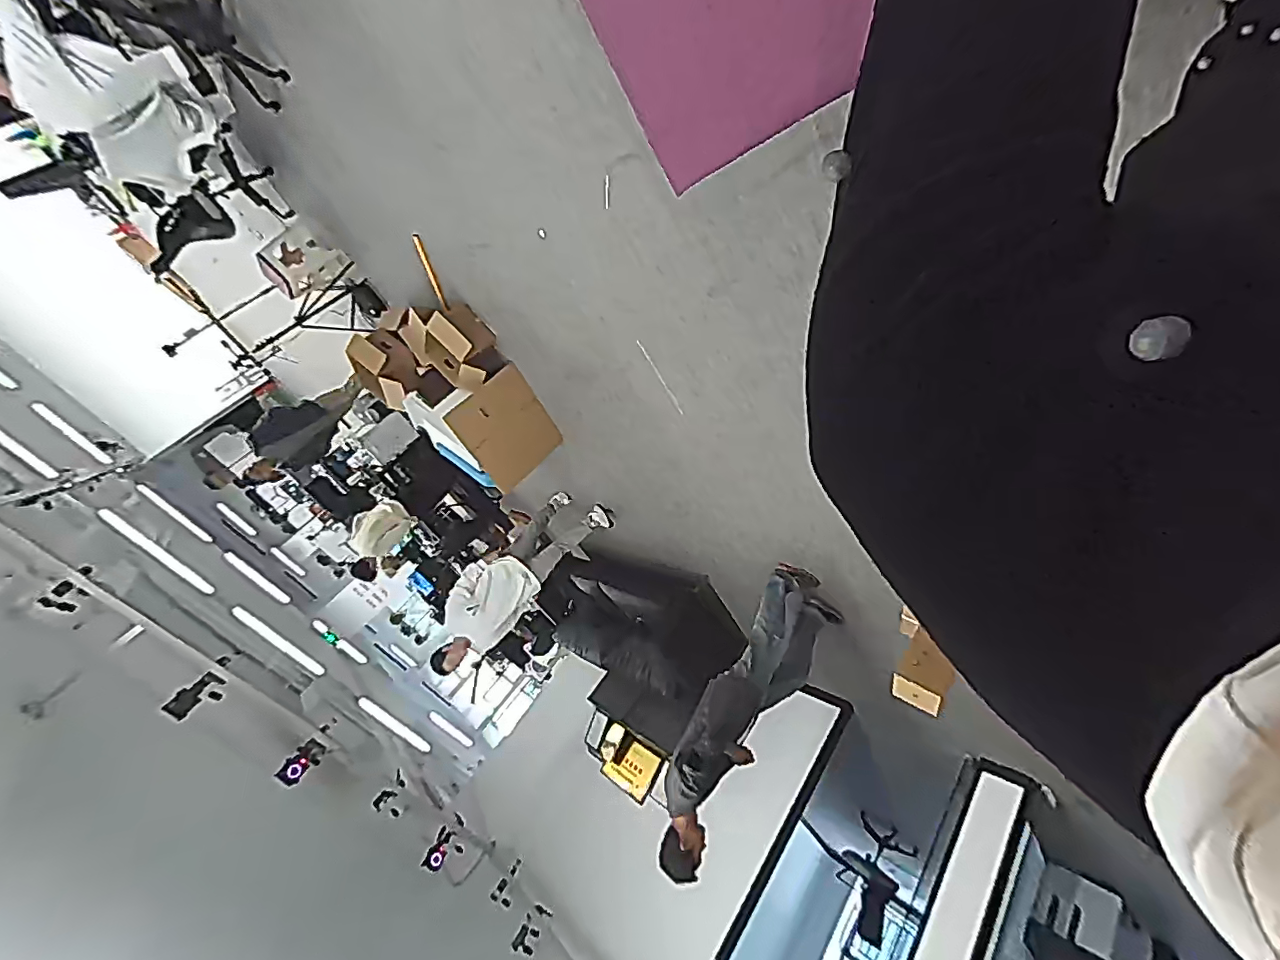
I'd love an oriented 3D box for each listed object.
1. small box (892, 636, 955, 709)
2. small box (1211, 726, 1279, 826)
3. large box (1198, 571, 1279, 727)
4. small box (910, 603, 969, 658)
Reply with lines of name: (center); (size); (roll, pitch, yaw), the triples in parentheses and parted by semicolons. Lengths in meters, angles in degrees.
small box: (1.086, 0.732, 2.073); (0.168, 0.176, 0.179); (22, 148, 36)
small box: (1.606, 0.745, 1.352); (0.168, 0.176, 0.179); (42, 155, -2)
large box: (1.878, 0.449, 1.463); (0.320, 0.320, 0.408); (39, 154, 1)
small box: (1.184, 0.626, 2.149); (0.168, 0.176, 0.179); (22, 147, 34)
